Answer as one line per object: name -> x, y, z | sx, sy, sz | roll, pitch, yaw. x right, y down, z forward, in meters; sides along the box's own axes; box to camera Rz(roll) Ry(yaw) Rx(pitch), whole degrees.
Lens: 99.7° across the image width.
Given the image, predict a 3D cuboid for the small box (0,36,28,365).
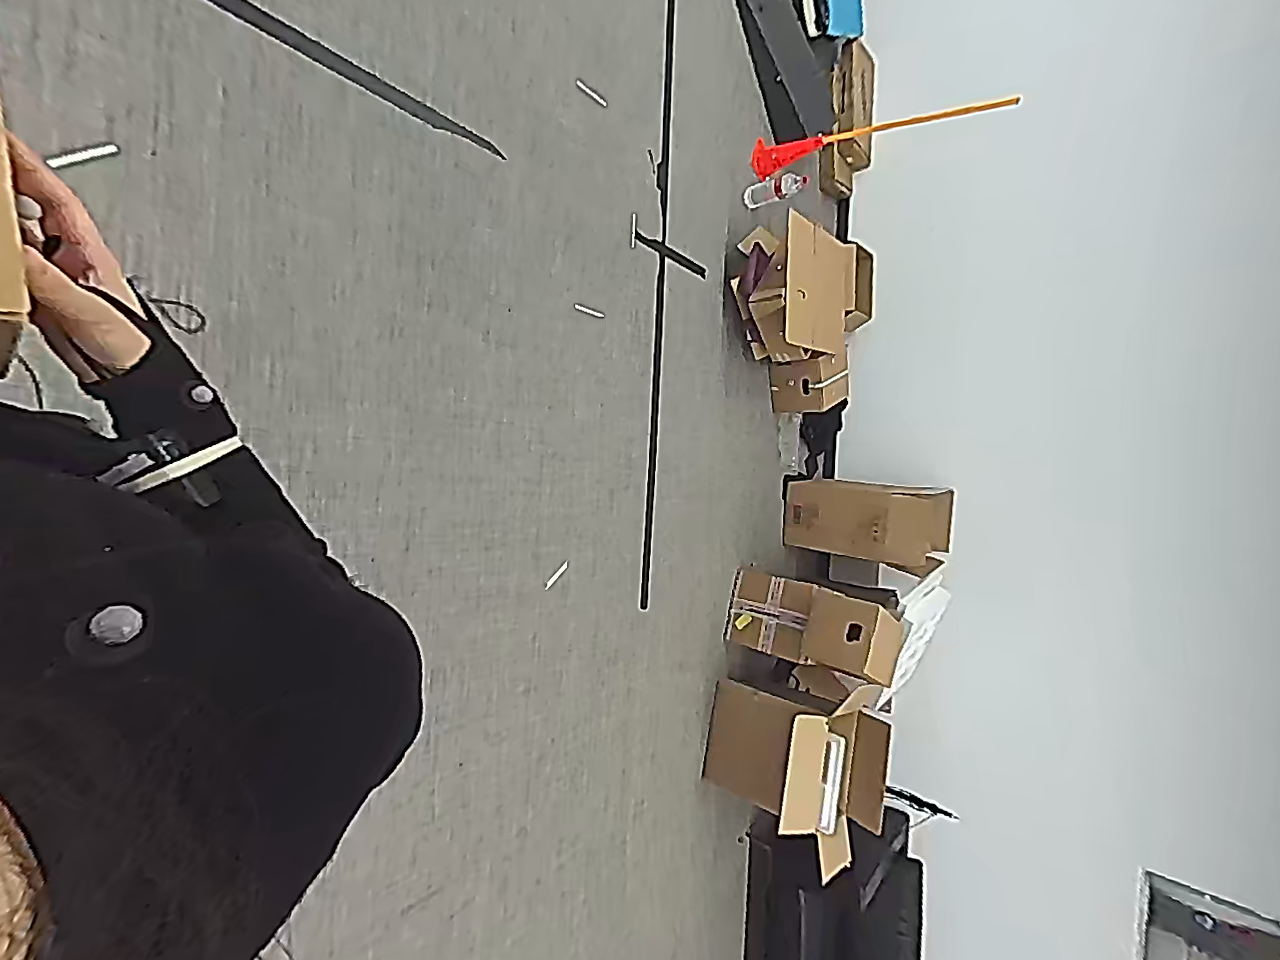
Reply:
small box -> -0.427, -0.152, 0.255 | 0.168, 0.176, 0.179 | -8, 92, -54
